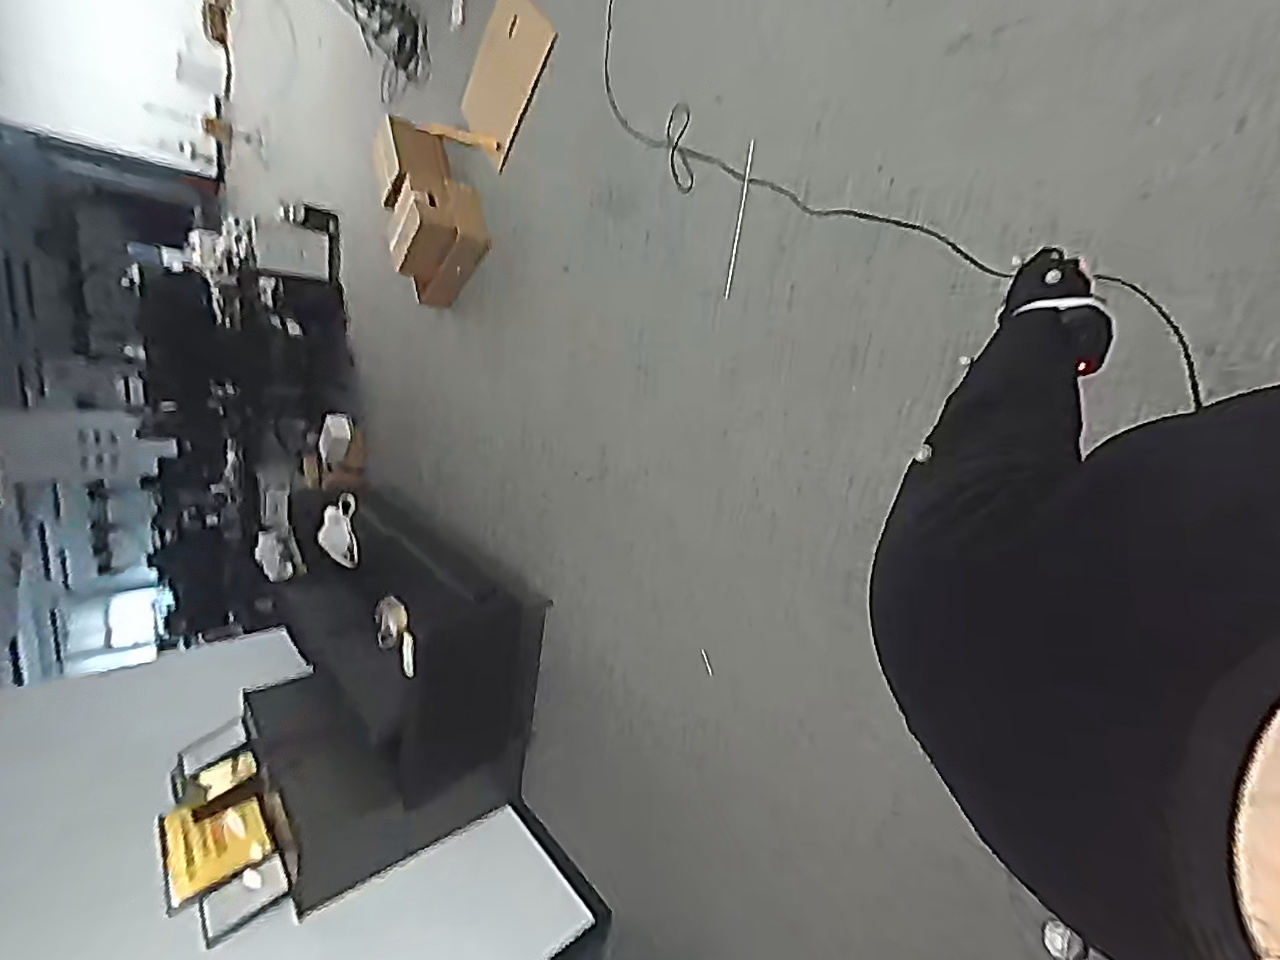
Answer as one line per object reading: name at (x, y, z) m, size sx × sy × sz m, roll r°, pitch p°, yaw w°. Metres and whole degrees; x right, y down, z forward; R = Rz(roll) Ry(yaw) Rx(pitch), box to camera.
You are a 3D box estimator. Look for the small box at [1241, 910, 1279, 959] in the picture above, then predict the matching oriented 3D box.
small box at (0.955, 0.758, 0.737) m, size 0.168 × 0.176 × 0.179 m, roll 25°, pitch 112°, yaw 42°
